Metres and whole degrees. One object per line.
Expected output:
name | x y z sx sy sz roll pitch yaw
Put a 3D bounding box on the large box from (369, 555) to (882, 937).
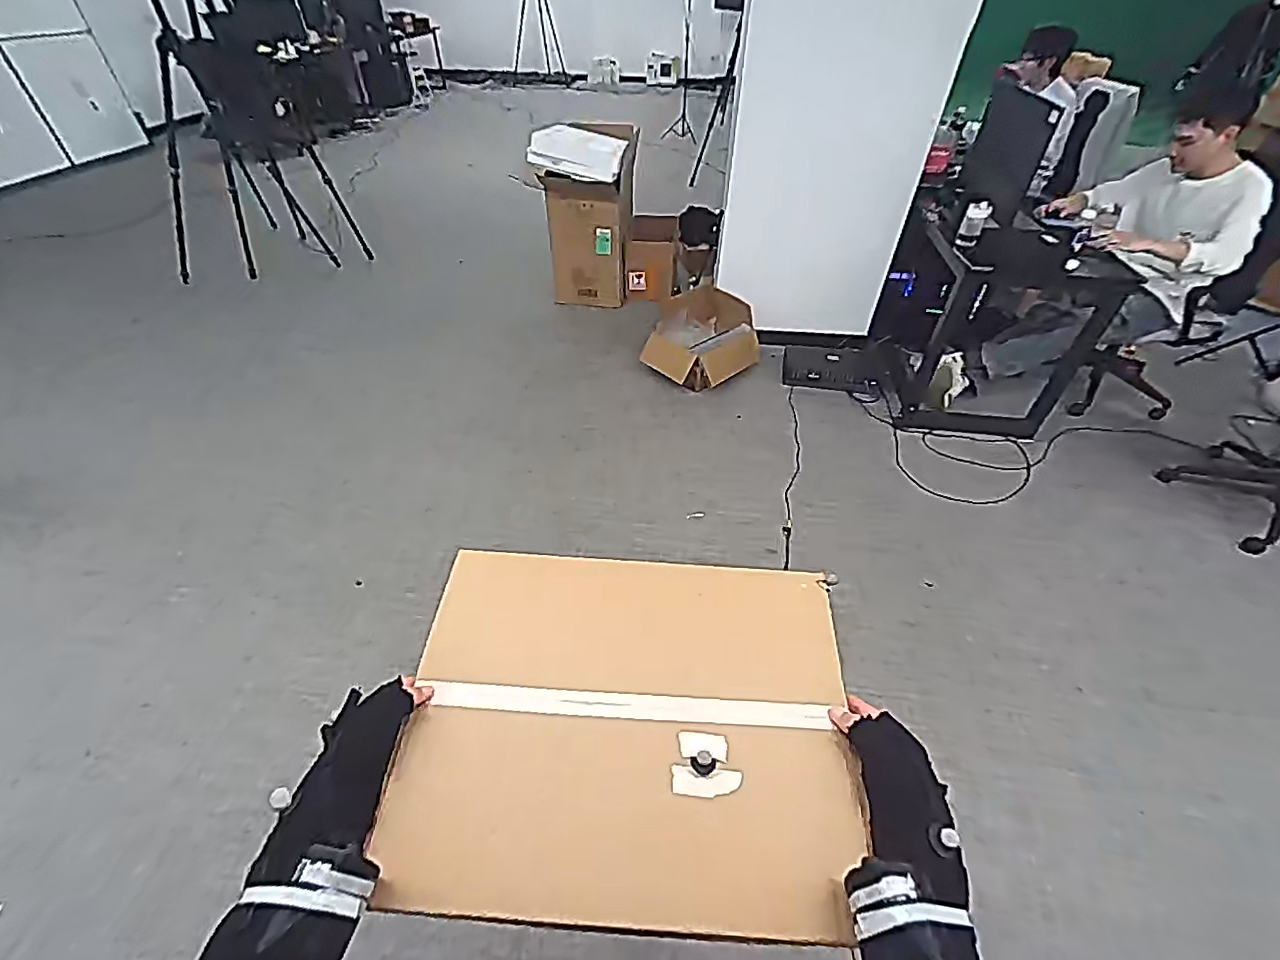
large box | -0.011 0.308 0.619 0.408 0.320 0.320 4 50 1
